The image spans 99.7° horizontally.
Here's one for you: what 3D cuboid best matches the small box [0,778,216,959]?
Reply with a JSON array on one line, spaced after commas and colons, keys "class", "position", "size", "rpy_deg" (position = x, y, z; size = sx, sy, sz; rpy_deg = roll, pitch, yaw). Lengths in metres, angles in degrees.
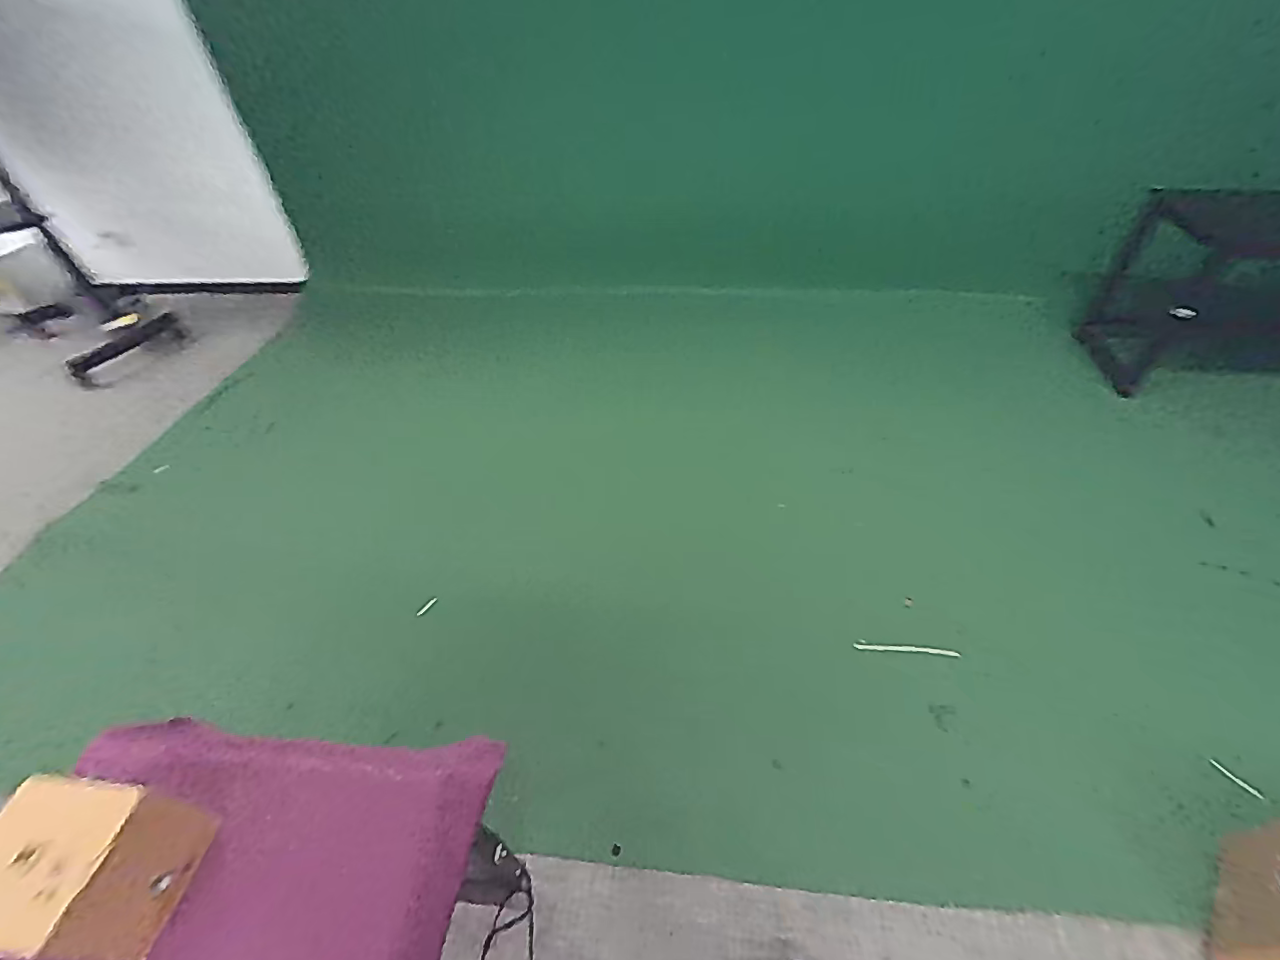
[{"class": "small box", "position": [-0.718, 0.506, 0.696], "size": [0.179, 0.176, 0.168], "rpy_deg": [3, 46, 6]}]
